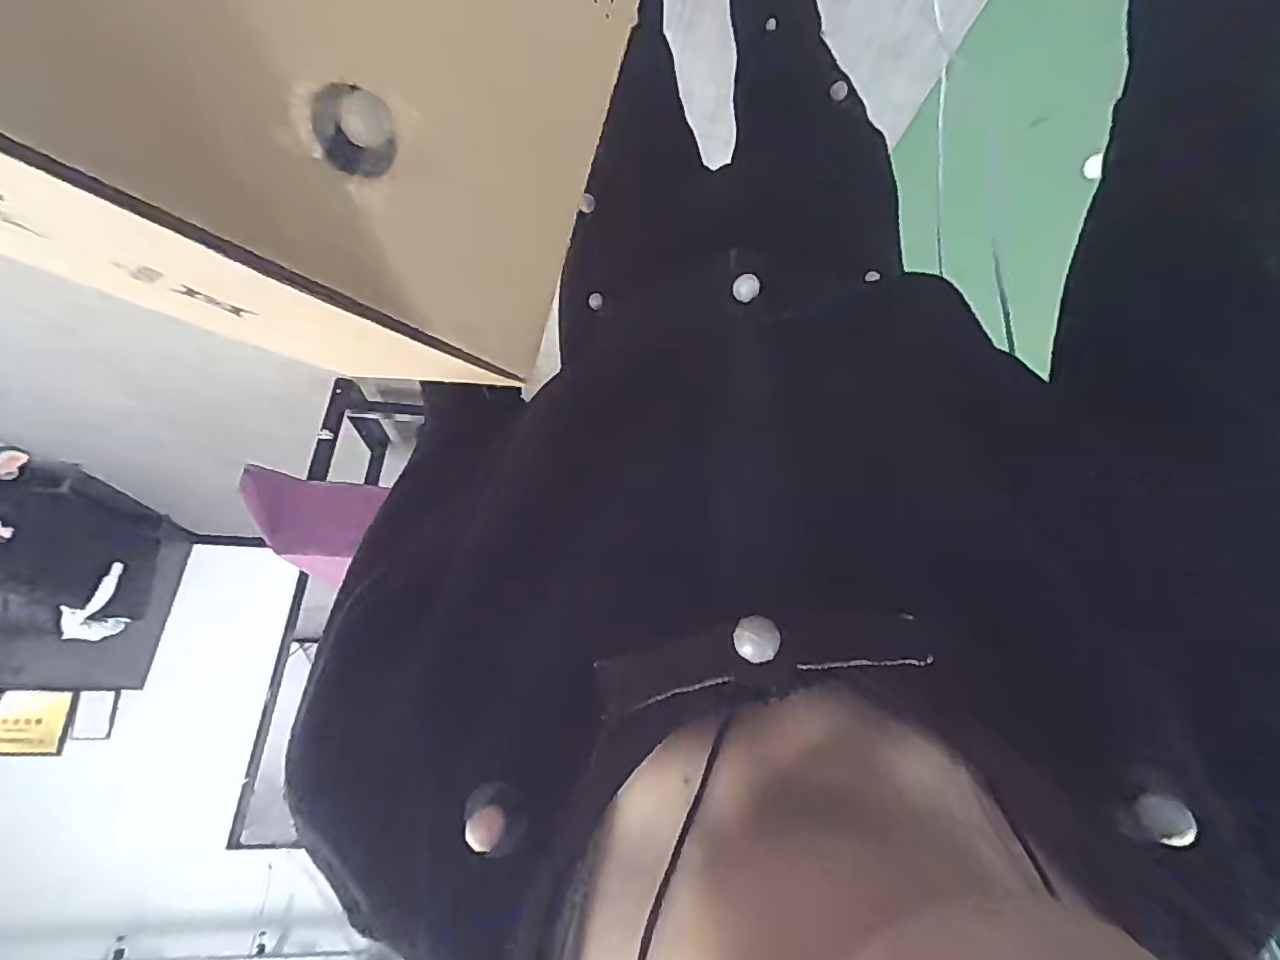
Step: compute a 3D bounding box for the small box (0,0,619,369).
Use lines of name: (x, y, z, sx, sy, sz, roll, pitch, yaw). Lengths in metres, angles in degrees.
small box: (-0.129, -0.150, 0.177, 0.168, 0.176, 0.179, 12, 174, 39)
